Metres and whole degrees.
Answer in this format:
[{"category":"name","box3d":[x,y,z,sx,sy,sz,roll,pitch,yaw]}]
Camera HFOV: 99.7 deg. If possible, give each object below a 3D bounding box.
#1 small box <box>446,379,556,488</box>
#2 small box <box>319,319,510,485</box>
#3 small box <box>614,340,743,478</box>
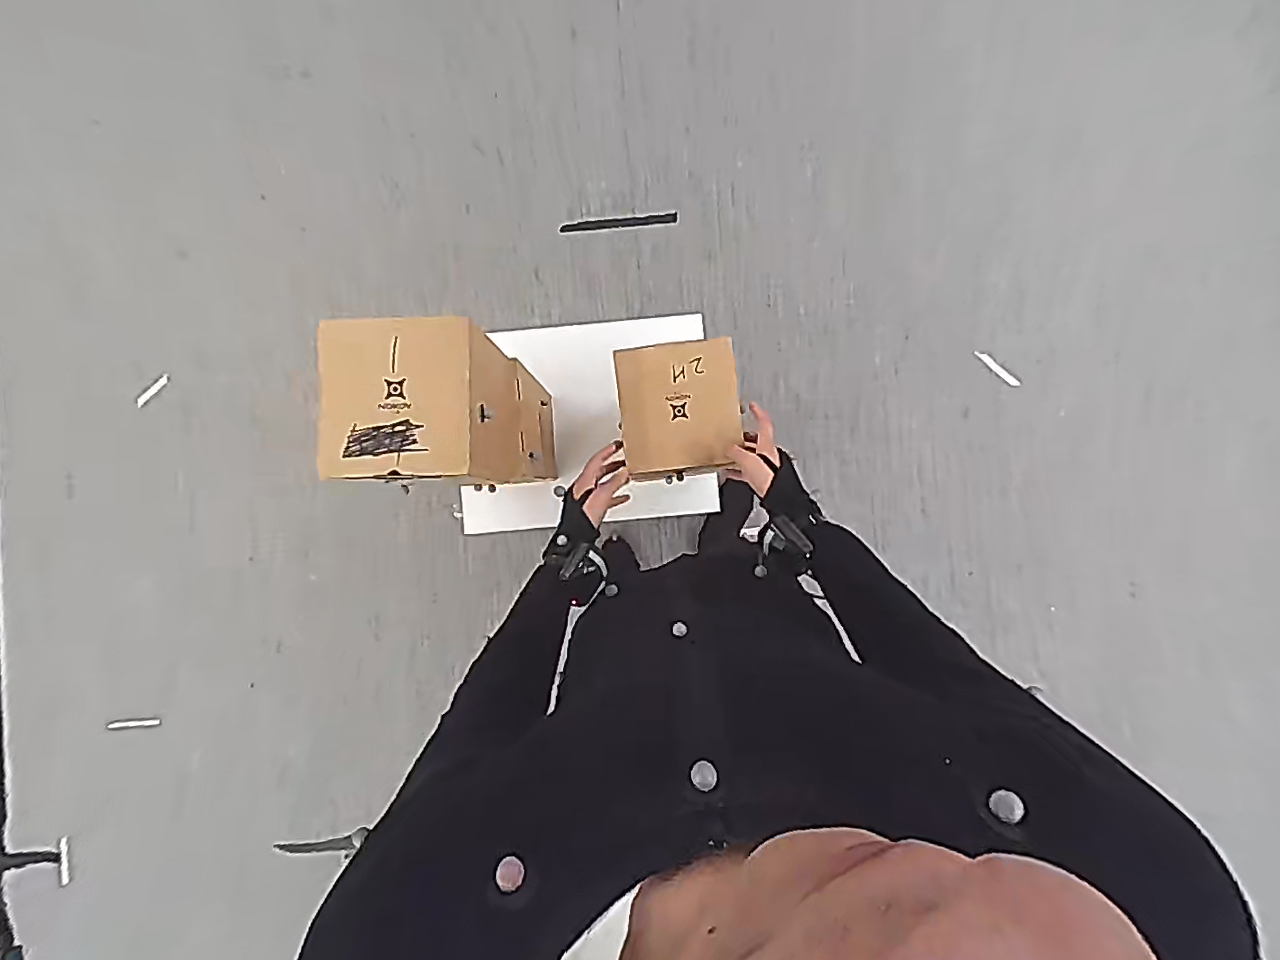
[{"category":"small box","box3d":[-0.251,-0.077,0.987,0.168,0.176,0.179,-4,88,0]},{"category":"small box","box3d":[-0.259,-0.083,0.658,0.168,0.176,0.179,-1,87,0]},{"category":"small box","box3d":[0.055,-0.097,0.819,0.168,0.176,0.179,-6,88,1]}]
